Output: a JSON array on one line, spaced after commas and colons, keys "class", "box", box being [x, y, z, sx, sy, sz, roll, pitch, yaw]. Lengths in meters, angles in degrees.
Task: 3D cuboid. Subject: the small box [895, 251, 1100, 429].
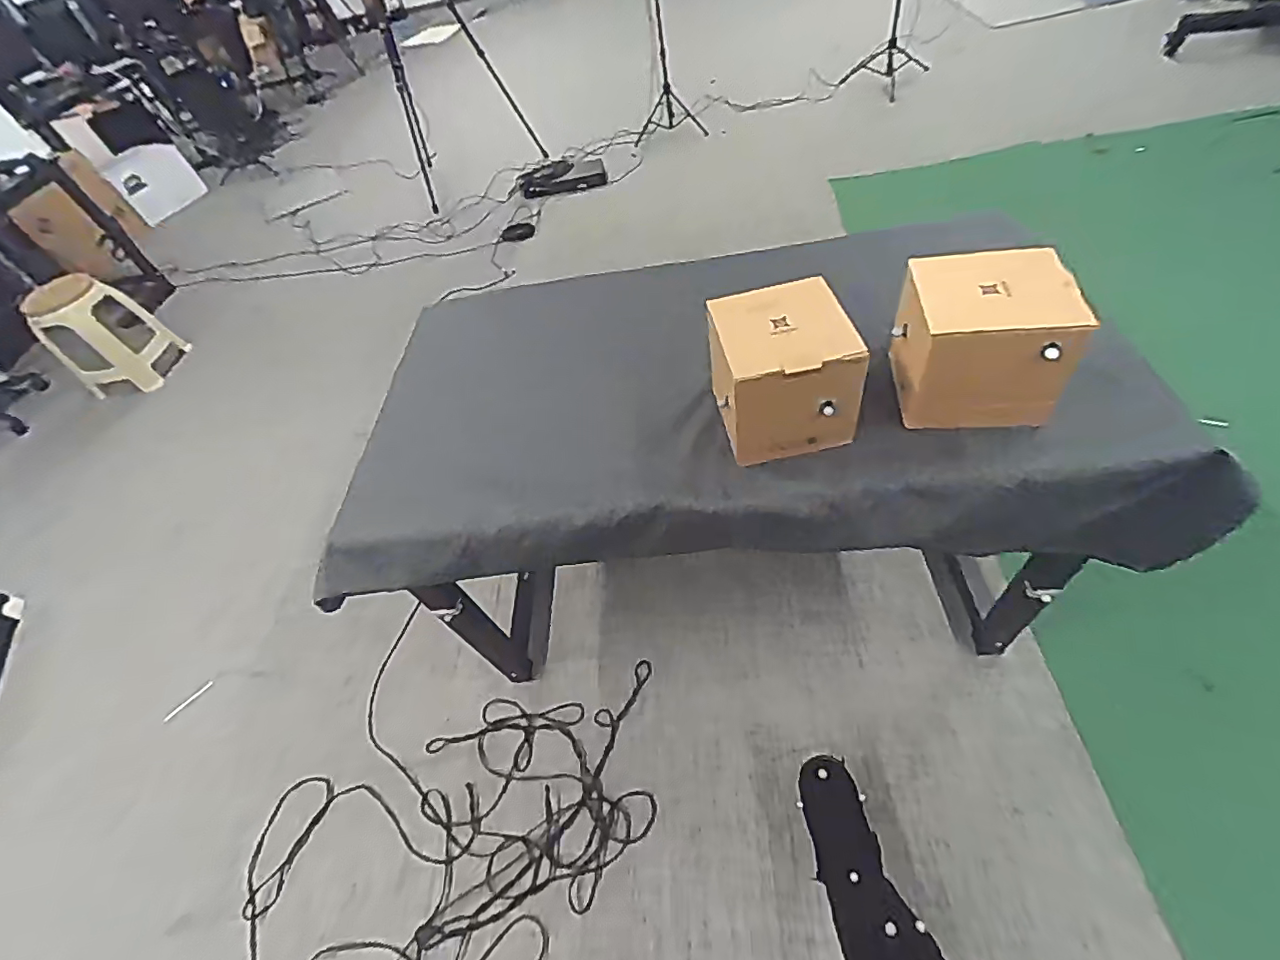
[{"class": "small box", "box": [0.456, -0.182, 0.731, 0.179, 0.176, 0.168, 0, 52, 12]}]

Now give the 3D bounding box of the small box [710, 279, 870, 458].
[{"class": "small box", "box": [0.200, -0.148, 0.760, 0.168, 0.176, 0.179, -11, 50, 2]}]
